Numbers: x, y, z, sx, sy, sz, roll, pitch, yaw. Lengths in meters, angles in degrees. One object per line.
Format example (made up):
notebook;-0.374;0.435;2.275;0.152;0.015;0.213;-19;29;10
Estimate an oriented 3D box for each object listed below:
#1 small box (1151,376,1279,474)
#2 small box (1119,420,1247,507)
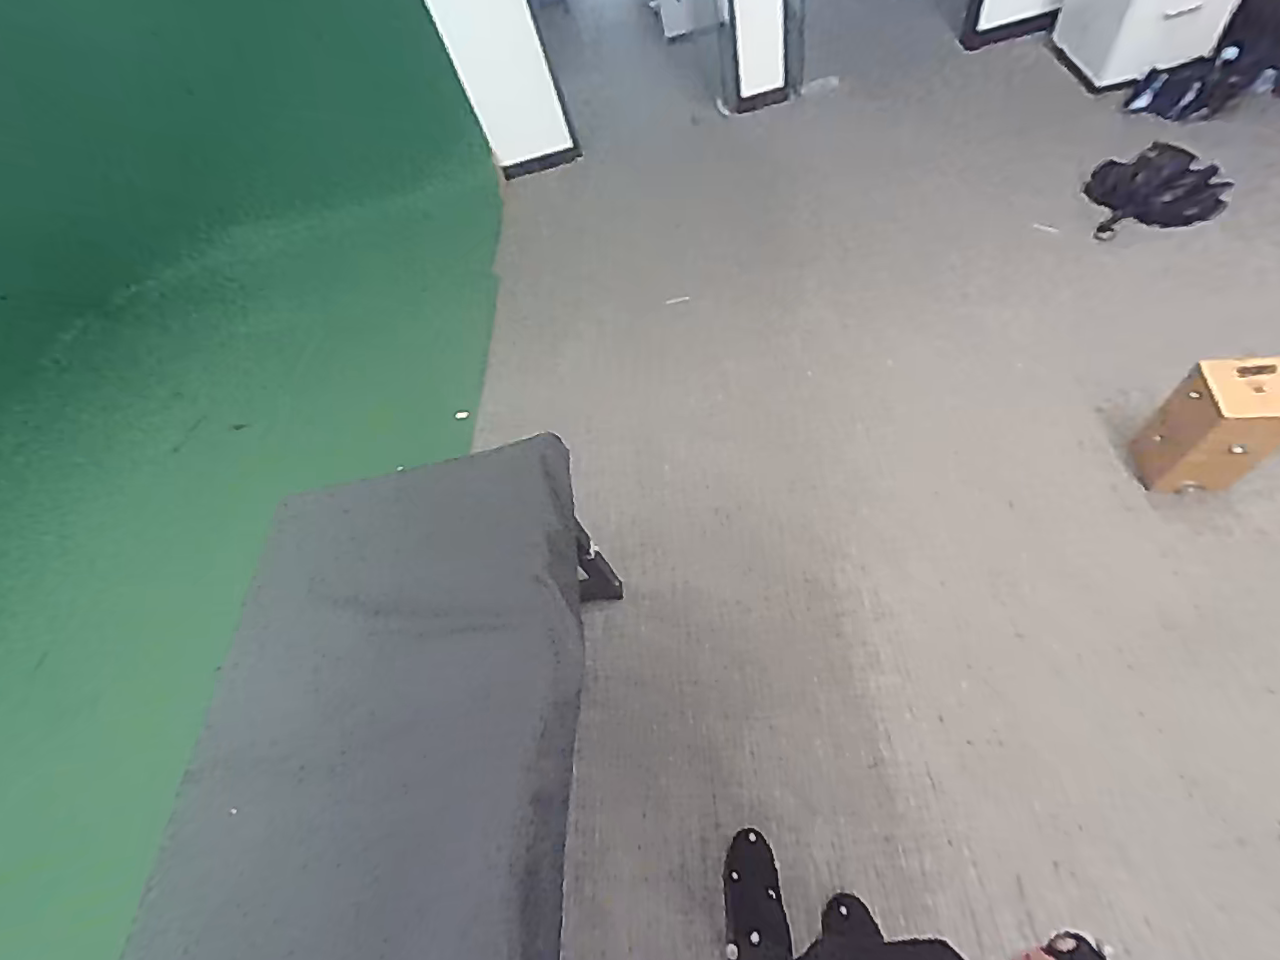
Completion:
small box;1.409;-0.133;1.323;0.168;0.176;0.179;1;58;17
small box;1.445;-0.045;1.457;0.168;0.176;0.179;0;59;16
